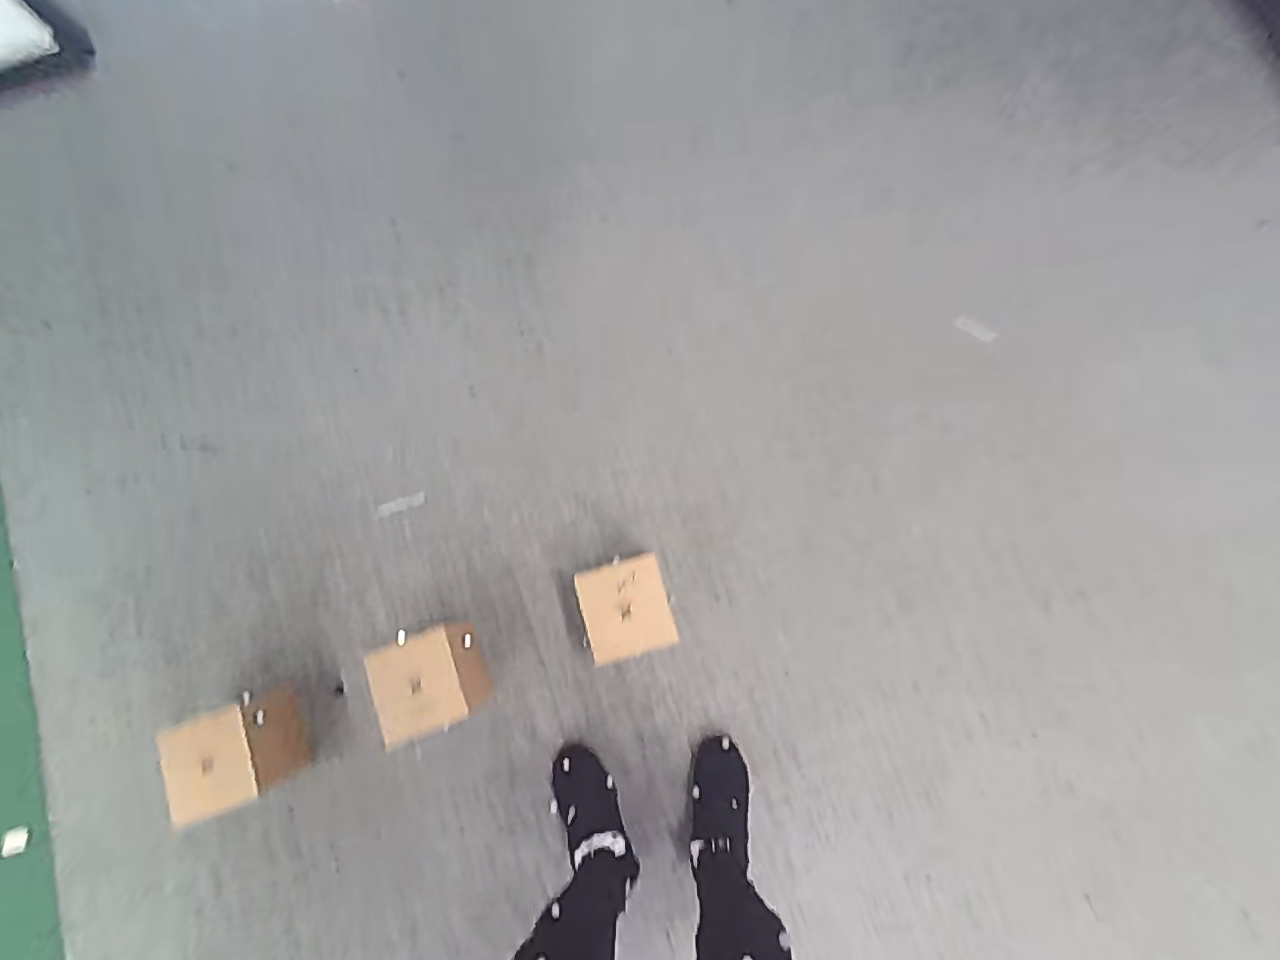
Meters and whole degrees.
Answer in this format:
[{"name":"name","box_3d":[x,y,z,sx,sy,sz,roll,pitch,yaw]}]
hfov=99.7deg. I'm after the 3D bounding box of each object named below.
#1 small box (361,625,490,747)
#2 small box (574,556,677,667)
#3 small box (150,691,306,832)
[{"name":"small box","box_3d":[-0.422,0.401,1.086,0.168,0.176,0.179,-20,80,-3]},{"name":"small box","box_3d":[-0.027,0.261,1.105,0.168,0.176,0.179,-15,80,-3]},{"name":"small box","box_3d":[-0.796,0.539,1.063,0.168,0.176,0.179,-20,79,-3]}]
